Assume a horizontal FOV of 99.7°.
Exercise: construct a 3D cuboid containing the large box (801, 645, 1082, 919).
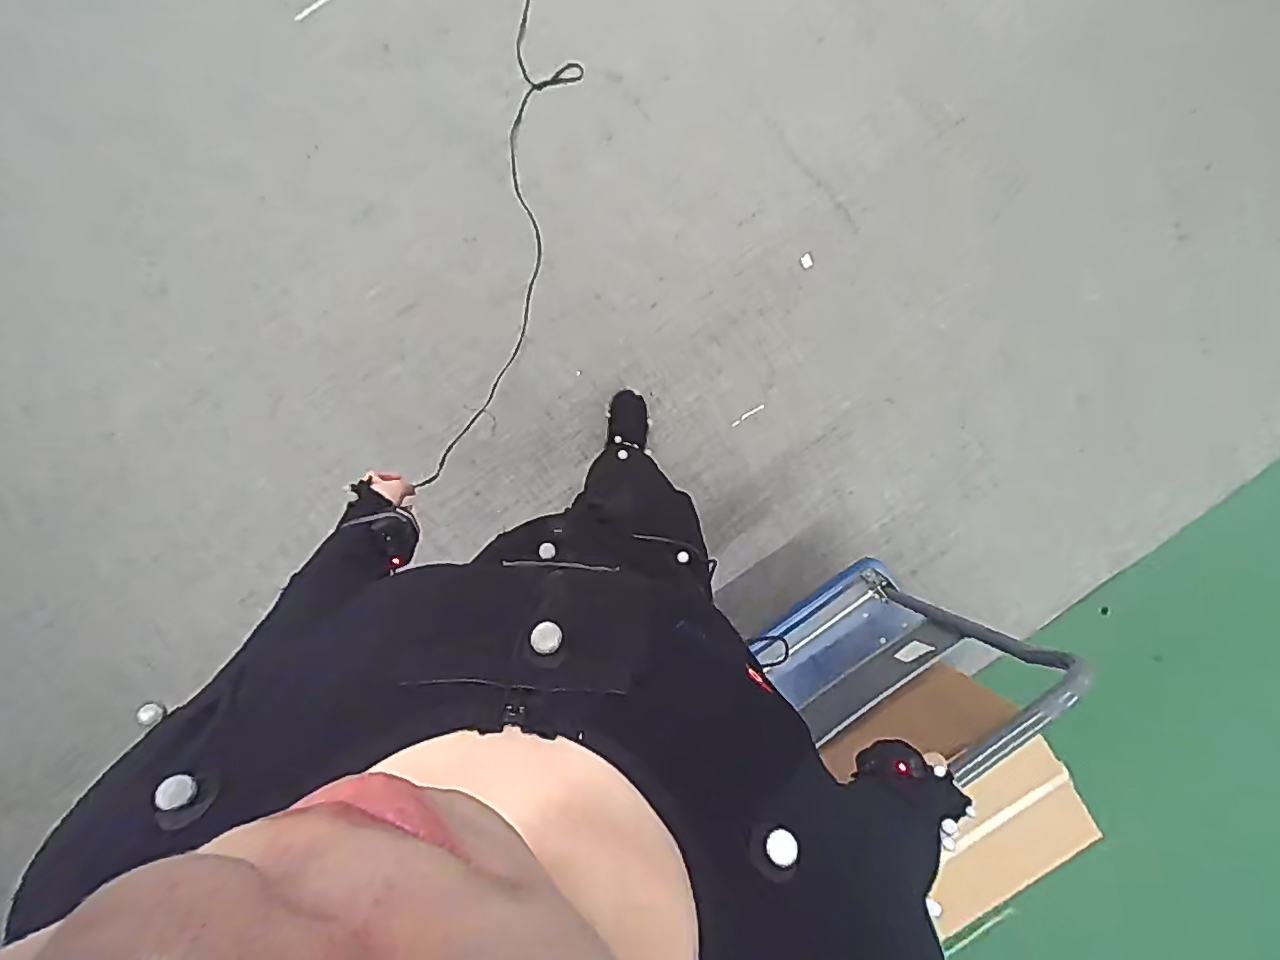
[{"bbox_3d":[0.660,0.657,1.245,0.408,0.320,0.320,-32,93,0],"label":"large box"}]
